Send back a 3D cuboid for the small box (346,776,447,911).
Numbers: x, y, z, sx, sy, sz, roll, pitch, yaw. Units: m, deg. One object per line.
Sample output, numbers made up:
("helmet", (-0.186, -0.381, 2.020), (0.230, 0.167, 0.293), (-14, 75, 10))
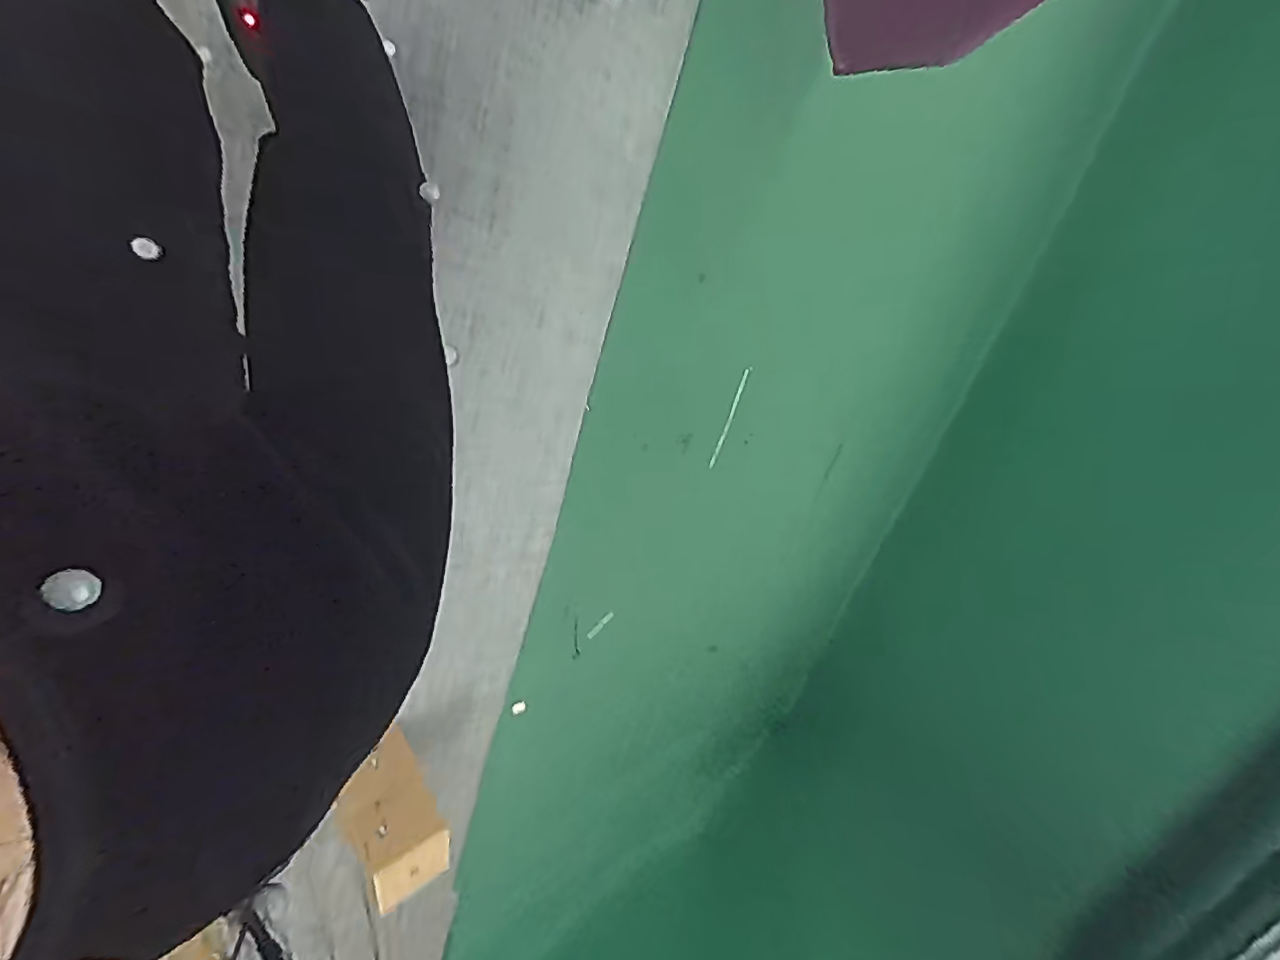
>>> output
("small box", (-0.566, 0.830, 1.258), (0.168, 0.176, 0.179), (-16, 130, -40))
